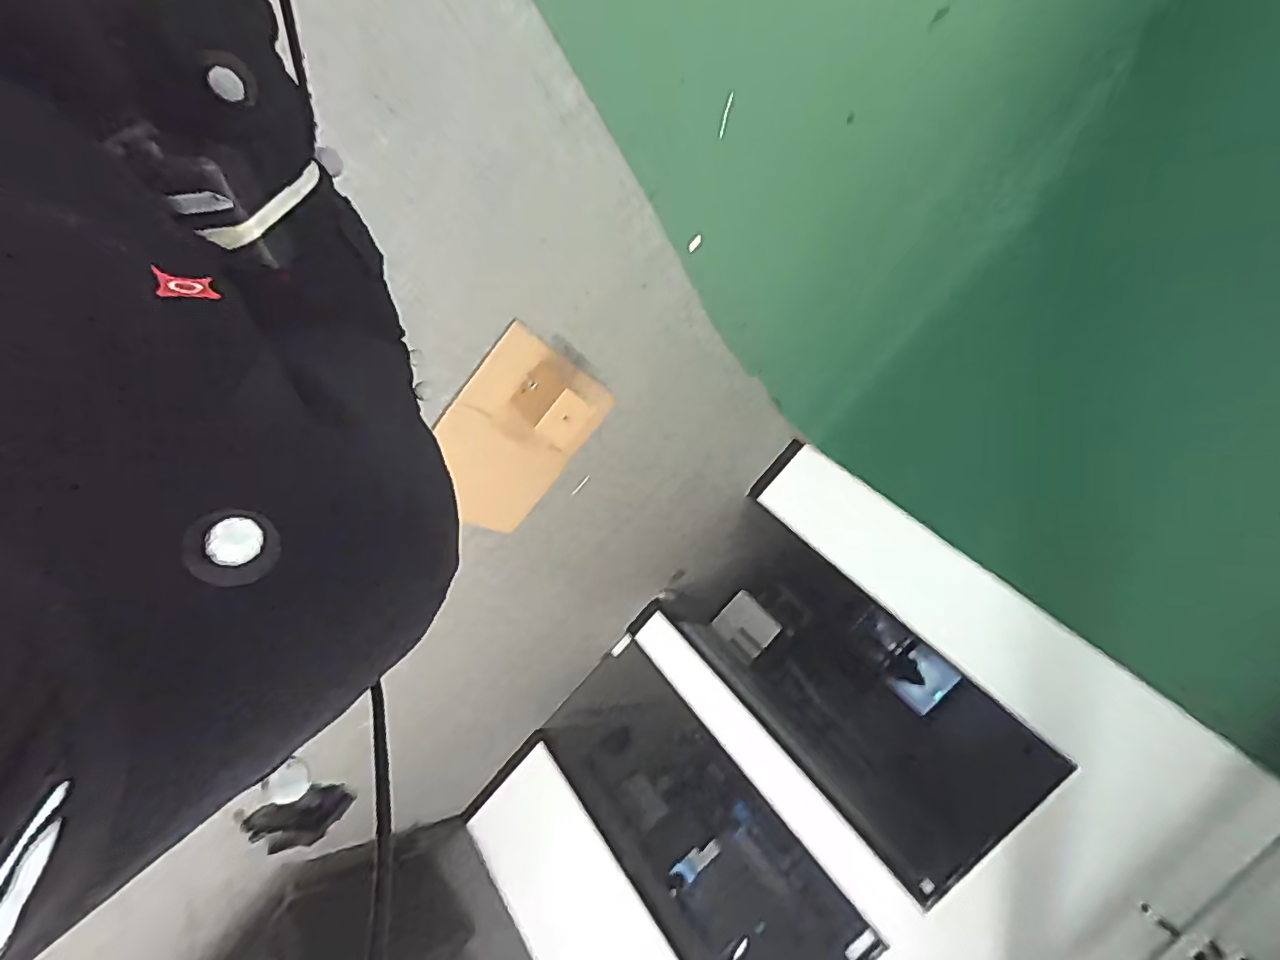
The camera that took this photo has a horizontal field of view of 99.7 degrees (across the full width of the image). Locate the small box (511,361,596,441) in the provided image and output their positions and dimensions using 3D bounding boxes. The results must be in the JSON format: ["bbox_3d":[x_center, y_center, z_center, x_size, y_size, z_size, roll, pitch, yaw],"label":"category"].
[{"bbox_3d":[-0.283,-0.260,1.760,0.168,0.176,0.179,-51,148,6],"label":"small box"}]
